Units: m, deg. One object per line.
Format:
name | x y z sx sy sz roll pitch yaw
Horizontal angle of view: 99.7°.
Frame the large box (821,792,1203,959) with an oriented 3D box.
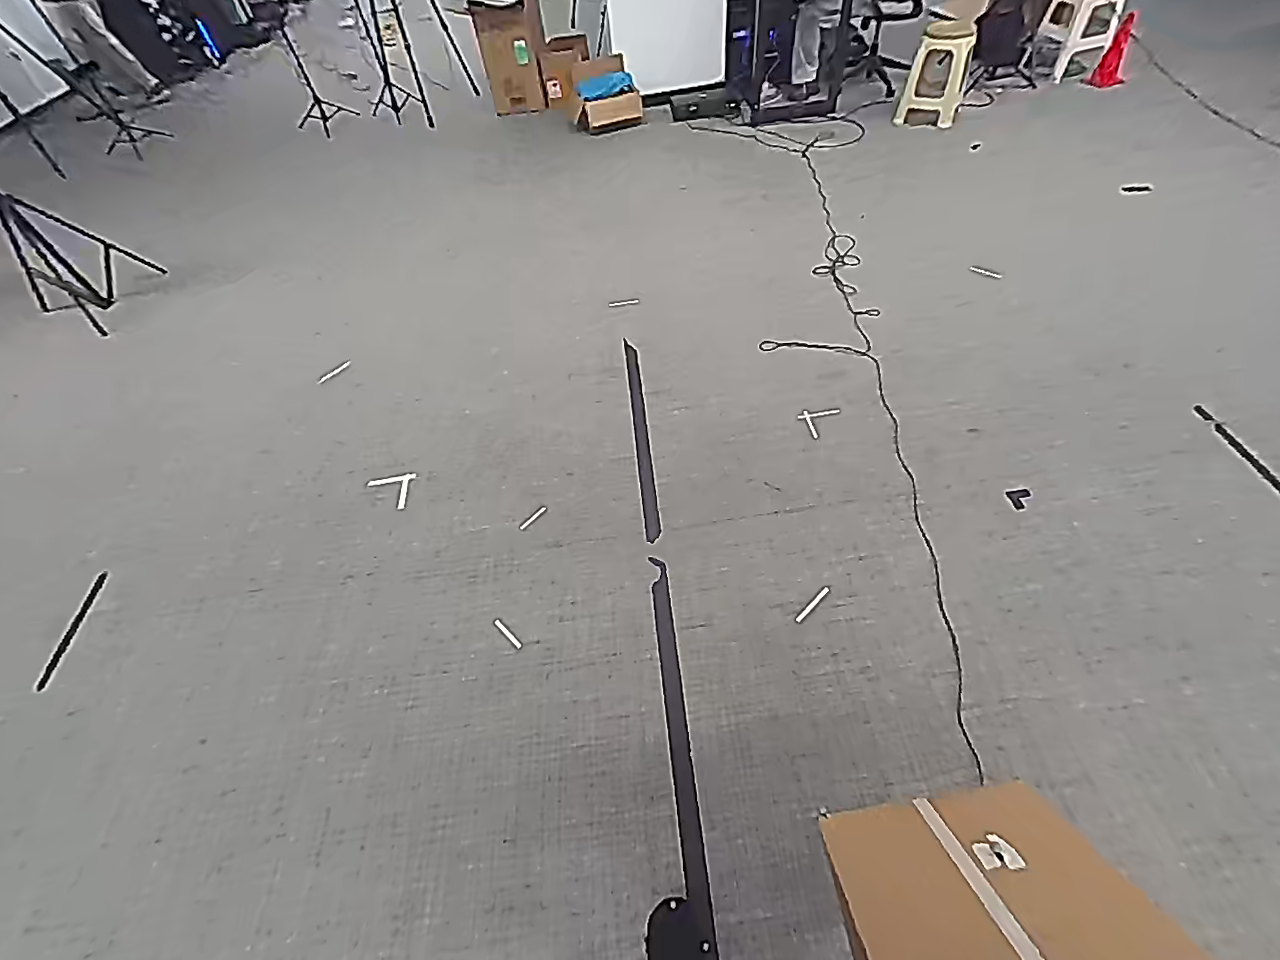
large box | 0.450 0.654 0.635 0.320 0.408 0.320 -12 89 5
